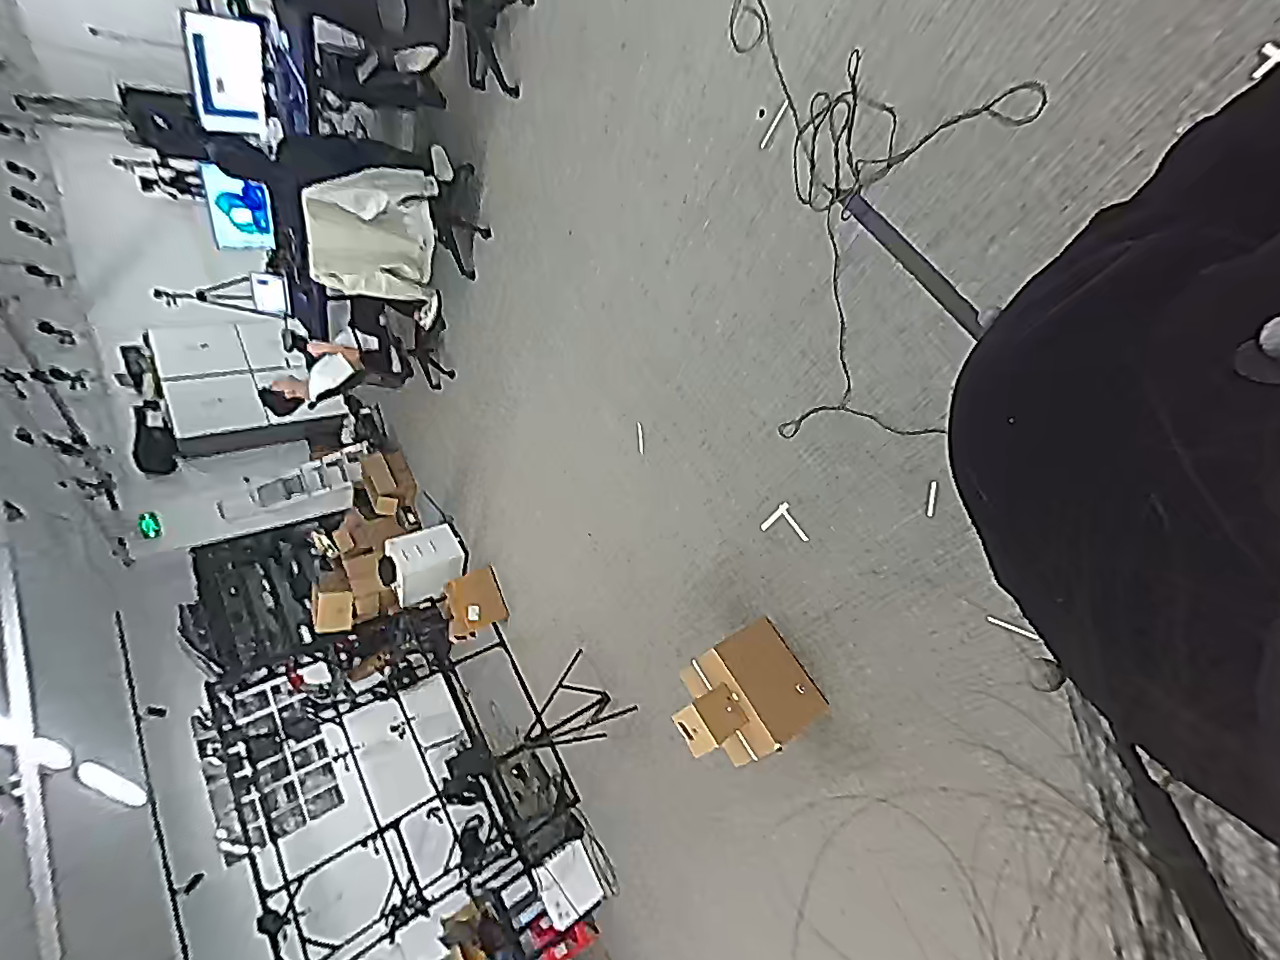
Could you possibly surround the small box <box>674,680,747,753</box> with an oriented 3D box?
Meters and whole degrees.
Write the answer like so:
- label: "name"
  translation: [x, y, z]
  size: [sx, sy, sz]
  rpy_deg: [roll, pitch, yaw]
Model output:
- label: "small box"
  translation: [0.260, 0.863, 1.978]
  size: [0.168, 0.176, 0.179]
  rpy_deg: [55, 140, 22]
